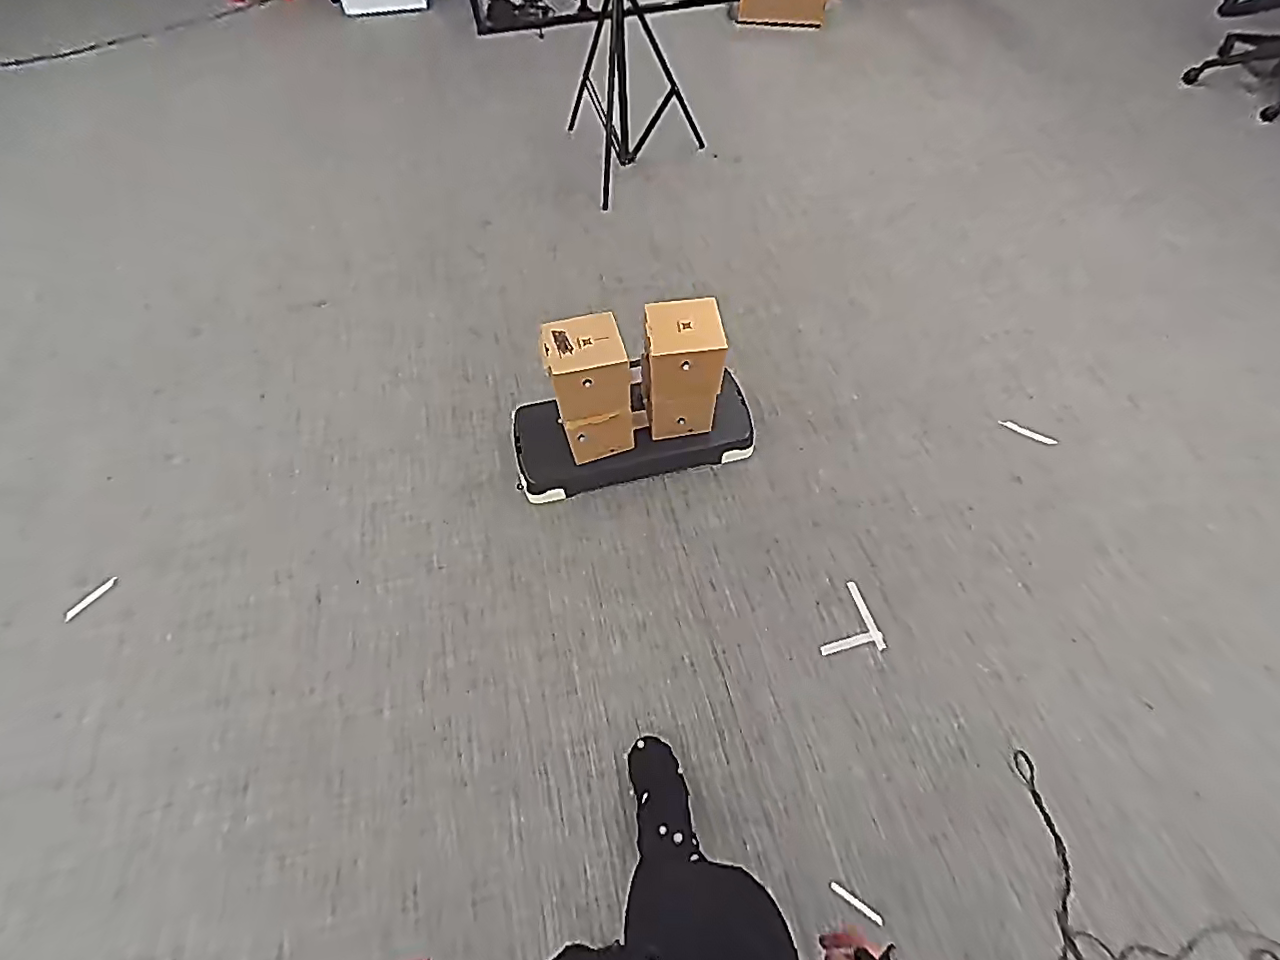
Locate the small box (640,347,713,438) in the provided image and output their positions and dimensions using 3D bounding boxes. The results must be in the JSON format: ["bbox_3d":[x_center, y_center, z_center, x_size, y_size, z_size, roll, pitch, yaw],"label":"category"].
[{"bbox_3d":[0.096,-0.227,1.460,0.168,0.176,0.179,-9,60,-4],"label":"small box"}]
